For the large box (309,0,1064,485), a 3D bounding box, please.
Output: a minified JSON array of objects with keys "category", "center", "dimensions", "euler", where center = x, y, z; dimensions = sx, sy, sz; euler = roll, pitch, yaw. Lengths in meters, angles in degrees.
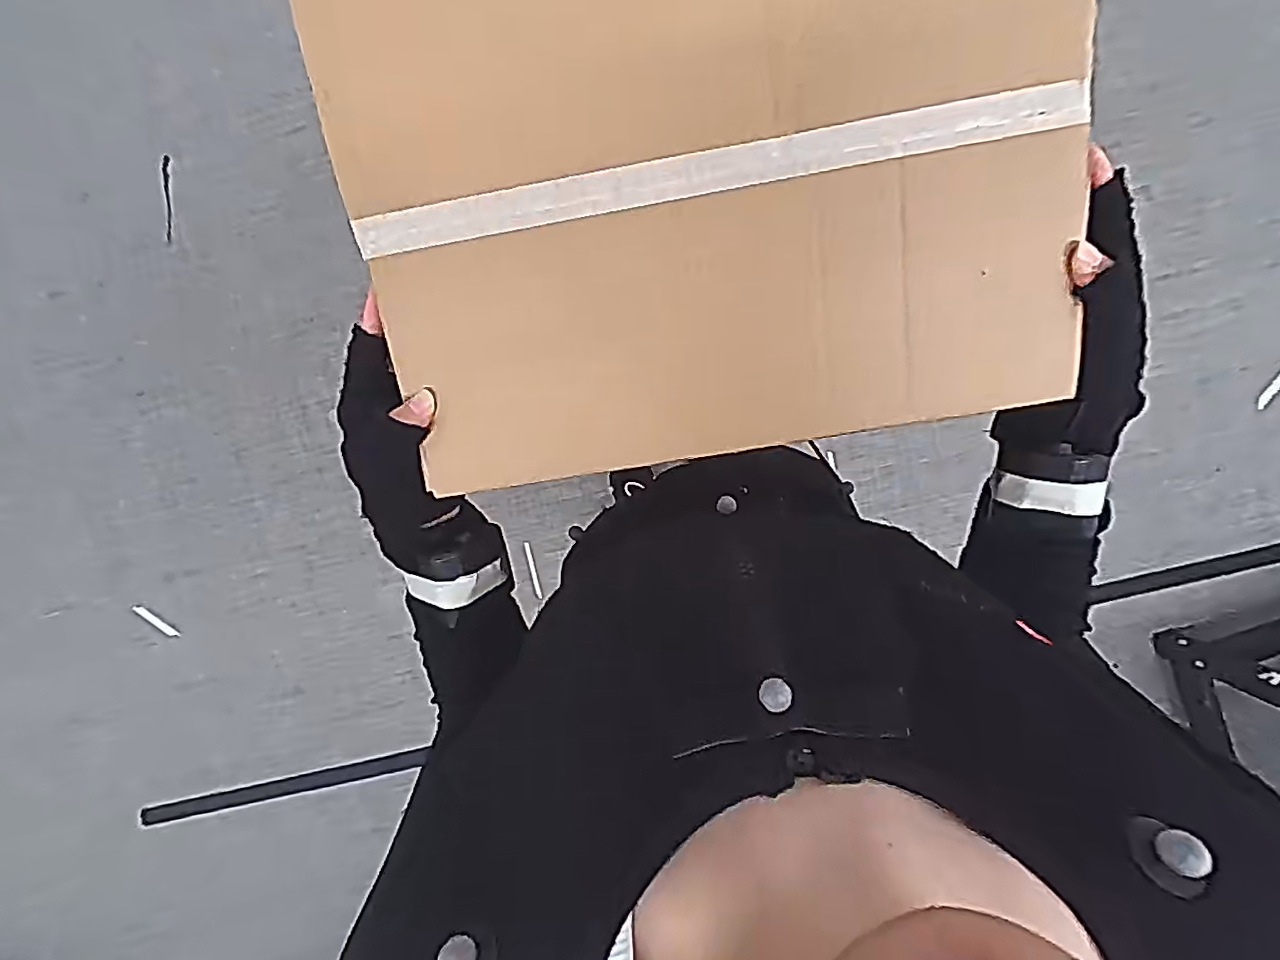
[{"category":"large box","center":[0.038,-0.211,0.457],"dimensions":[0.408,0.320,0.320],"euler":[-9,105,3]}]
